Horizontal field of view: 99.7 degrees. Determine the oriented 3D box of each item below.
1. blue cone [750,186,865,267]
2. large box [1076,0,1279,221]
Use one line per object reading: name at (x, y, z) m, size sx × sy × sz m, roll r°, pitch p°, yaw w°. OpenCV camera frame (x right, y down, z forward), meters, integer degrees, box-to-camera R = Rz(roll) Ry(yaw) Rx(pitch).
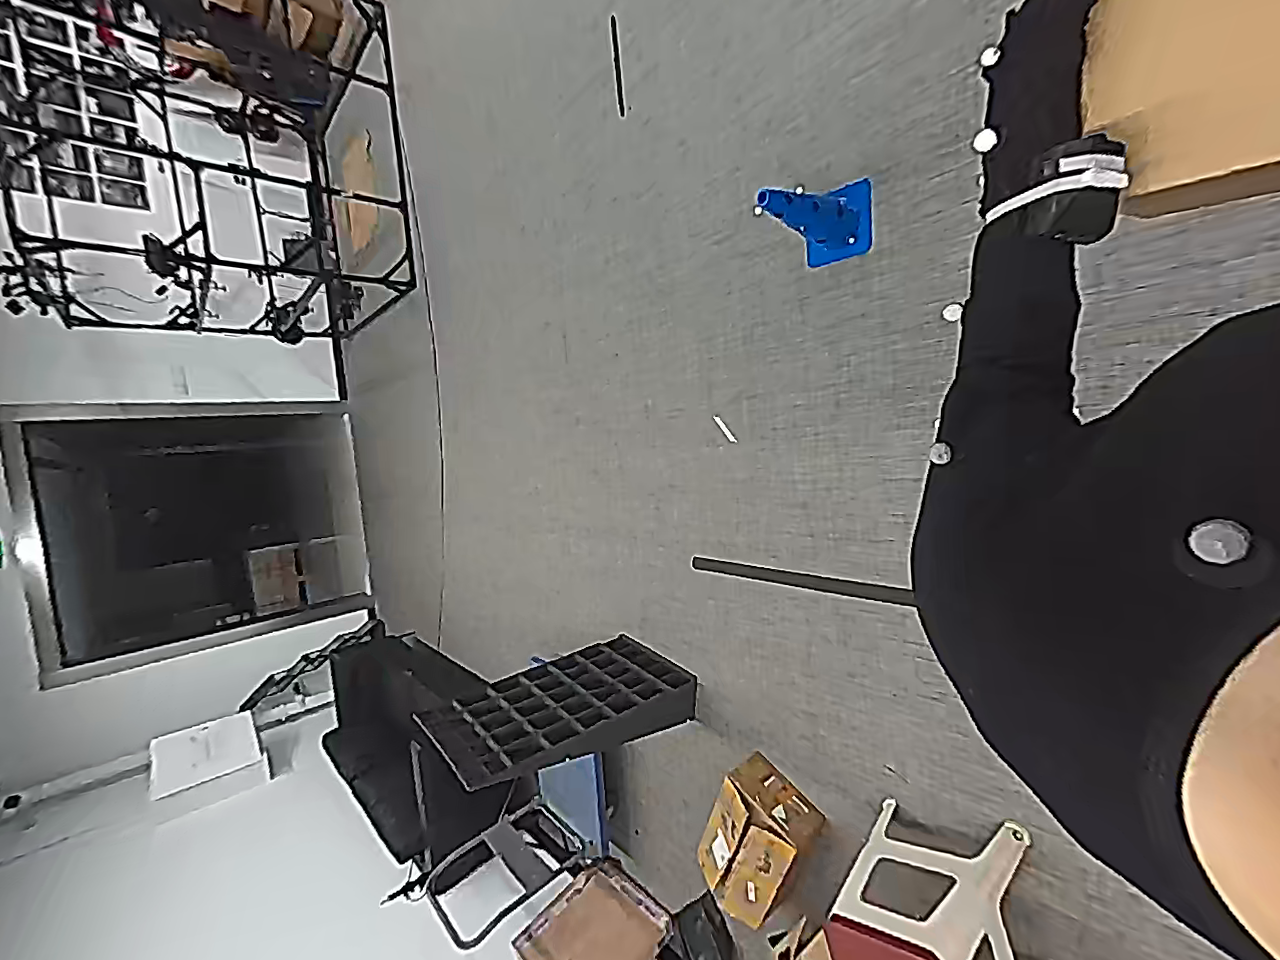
blue cone at (0.437, -0.715, 1.461) m, size 0.192 × 0.380 × 0.193 m, roll 6°, pitch 100°, yaw 50°
large box at (0.563, -0.393, 0.346) m, size 0.408 × 0.320 × 0.320 m, roll 6°, pitch 110°, yaw 49°
